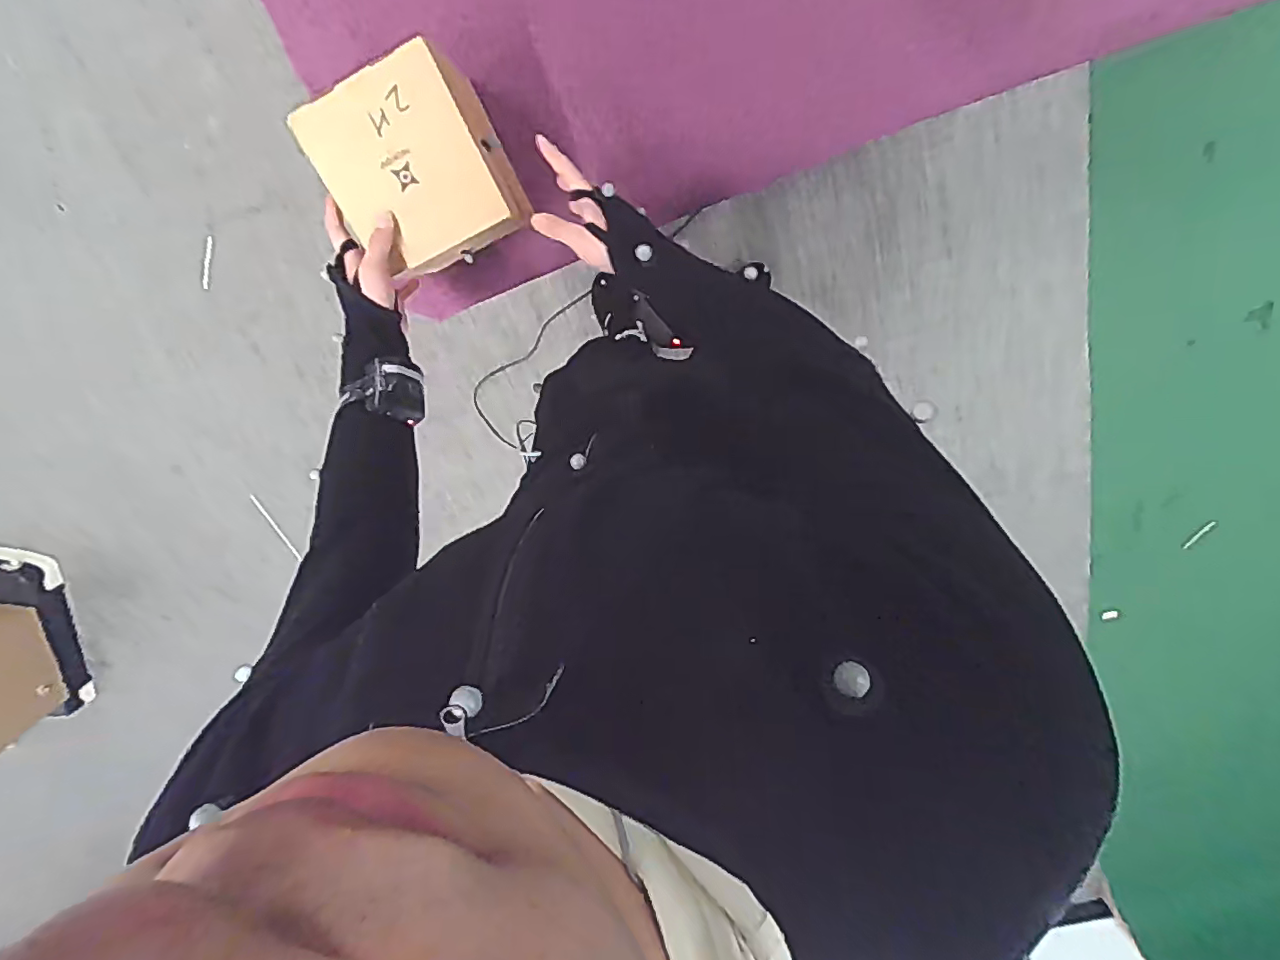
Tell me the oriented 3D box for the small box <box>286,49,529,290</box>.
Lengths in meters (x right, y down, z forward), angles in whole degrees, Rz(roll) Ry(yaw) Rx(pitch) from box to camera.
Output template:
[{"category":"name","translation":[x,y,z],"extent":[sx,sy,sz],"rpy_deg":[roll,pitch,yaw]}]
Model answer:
[{"category":"small box","translation":[-0.249,-0.347,0.634],"extent":[0.168,0.176,0.179],"rpy_deg":[-23,113,9]}]
